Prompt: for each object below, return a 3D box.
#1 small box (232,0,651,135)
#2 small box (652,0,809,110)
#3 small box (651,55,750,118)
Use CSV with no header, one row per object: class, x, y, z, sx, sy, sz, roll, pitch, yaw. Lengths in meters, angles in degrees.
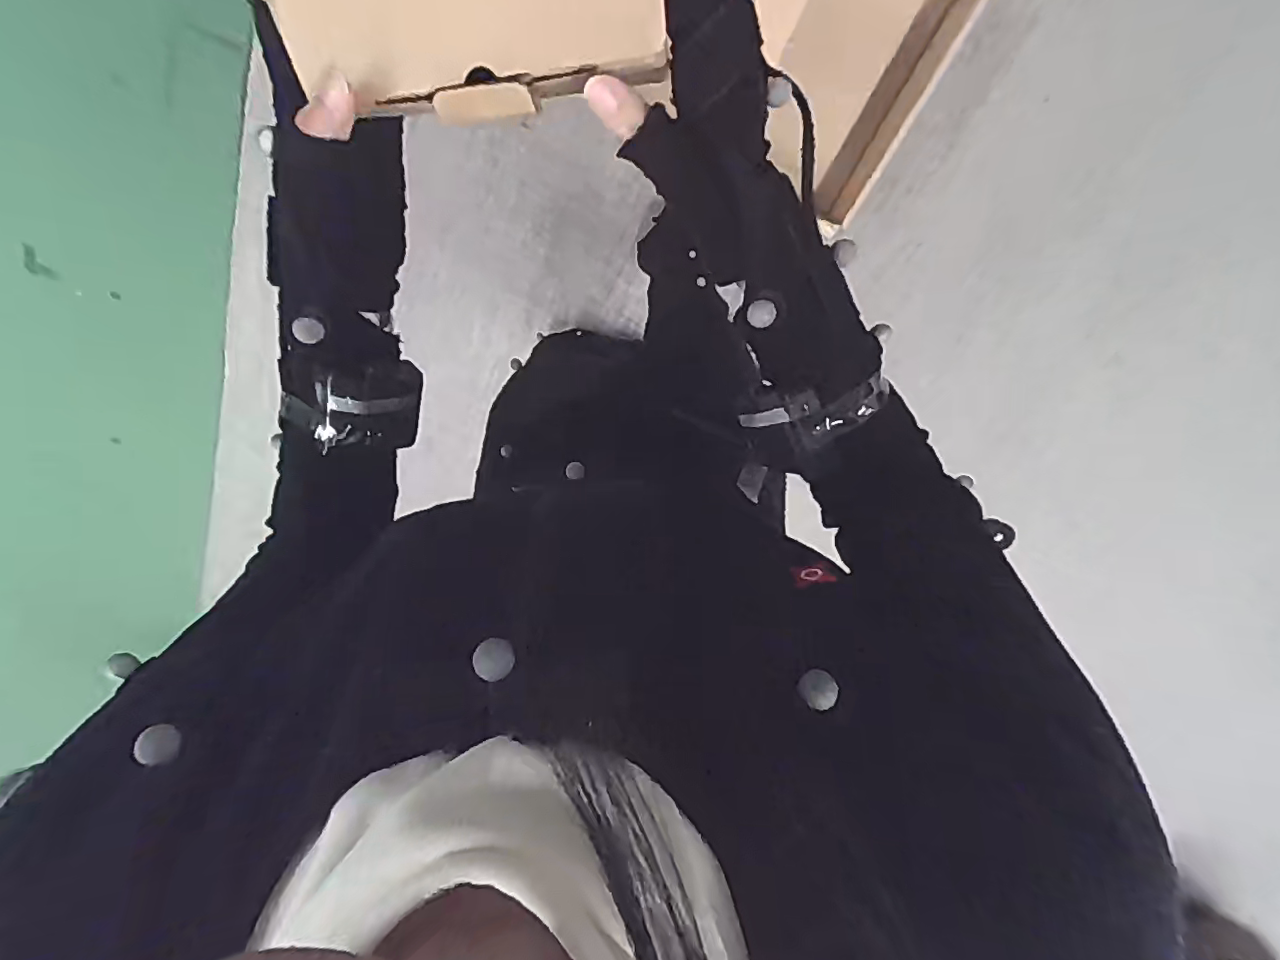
small box,-0.086,-0.282,0.256,0.168,0.176,0.179,-4,125,7
small box,0.129,-0.654,0.764,0.168,0.176,0.179,22,120,-11
small box,0.135,-0.735,0.903,0.179,0.176,0.168,23,121,-8
